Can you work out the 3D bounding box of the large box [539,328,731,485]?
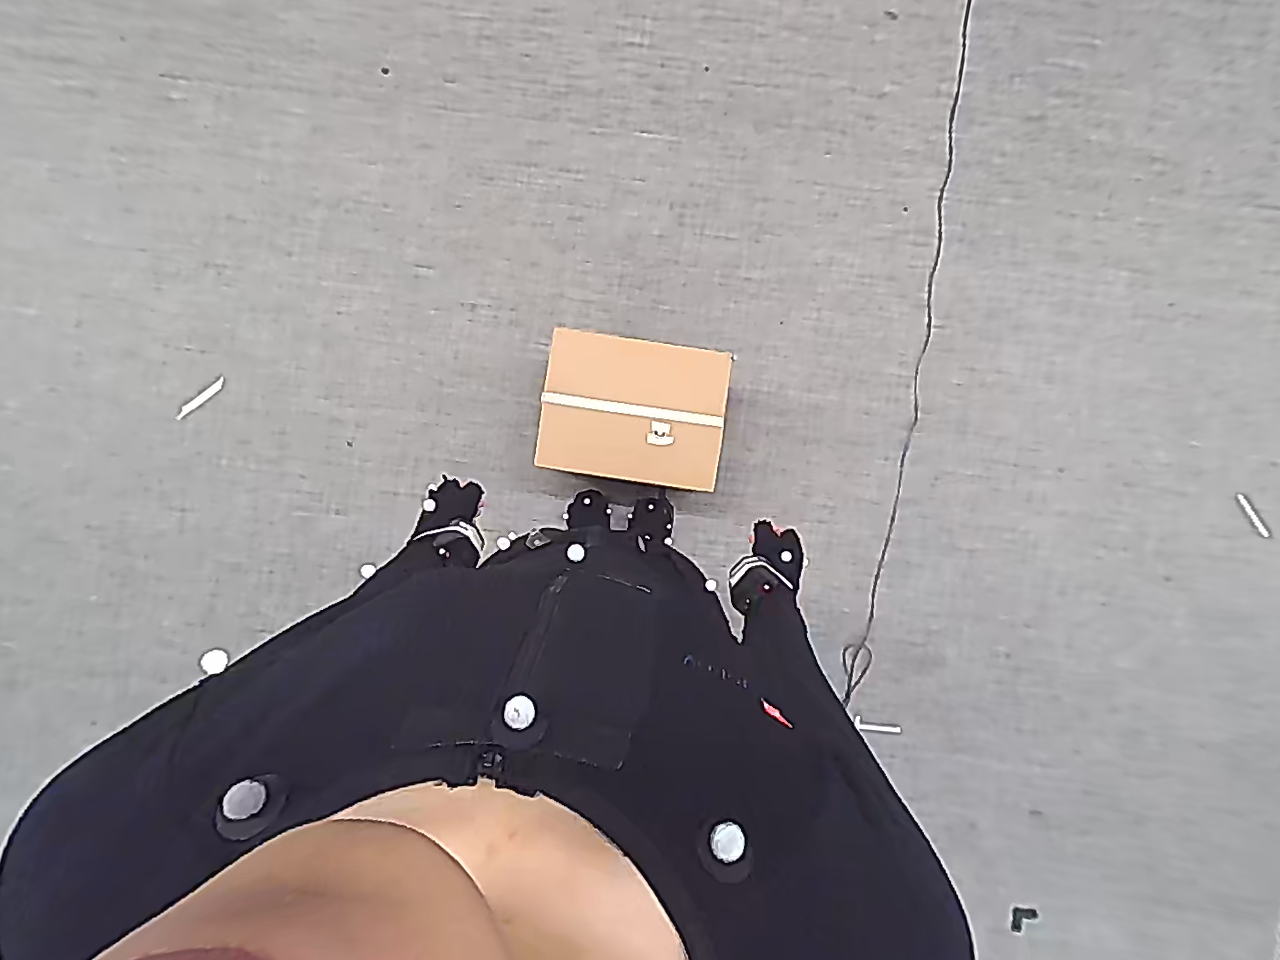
[{"bbox_3d":[-0.015,-0.163,1.353,0.408,0.320,0.320,8,90,-1],"label":"large box"}]
